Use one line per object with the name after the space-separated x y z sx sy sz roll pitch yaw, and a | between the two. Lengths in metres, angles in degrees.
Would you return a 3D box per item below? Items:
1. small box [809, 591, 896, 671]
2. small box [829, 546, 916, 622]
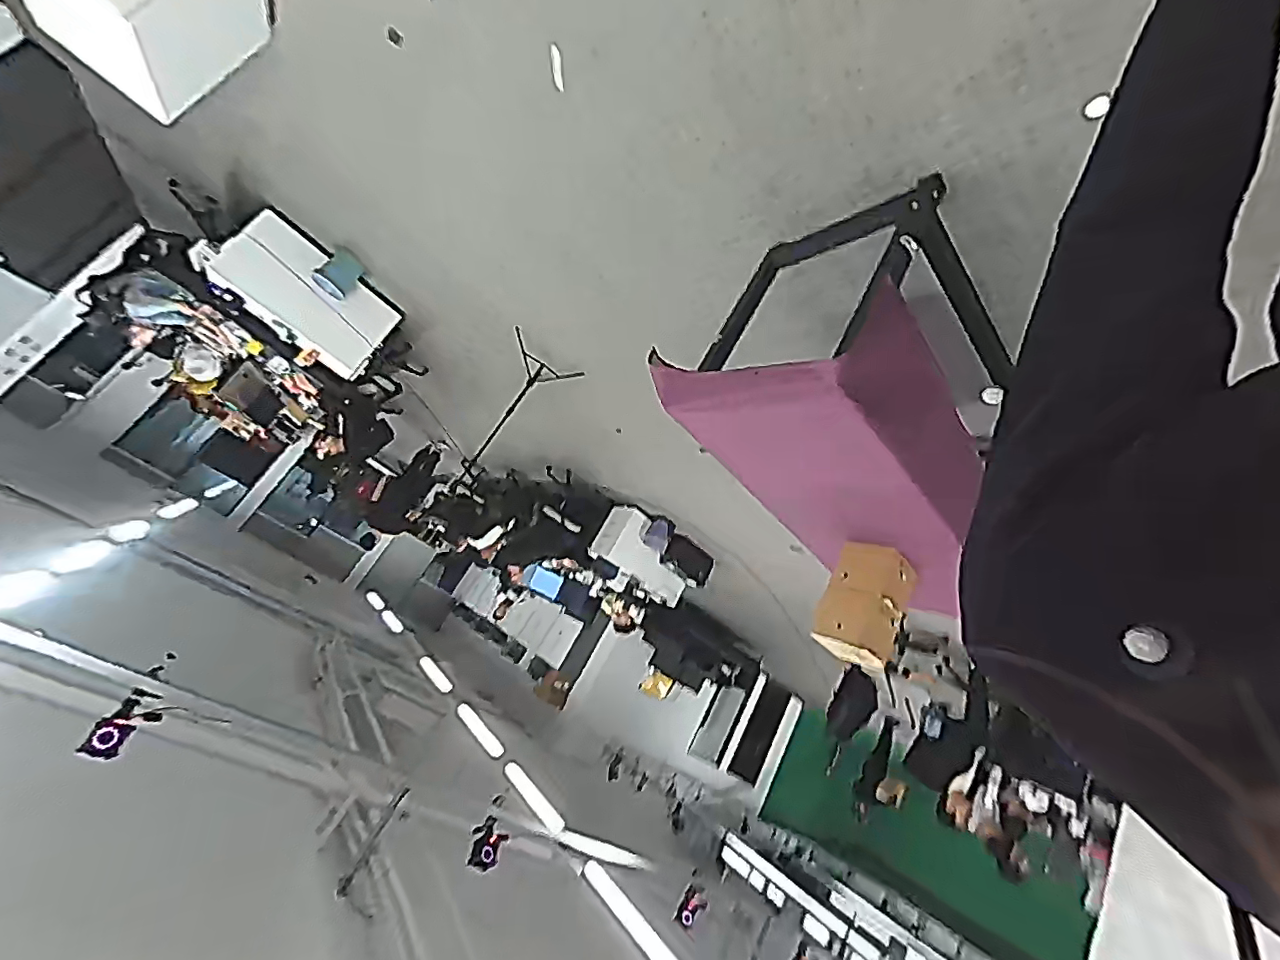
0.667 0.462 1.679 0.168 0.176 0.179 39 161 -24 | small box
0.745 0.326 1.729 0.168 0.176 0.179 40 159 -28 | small box
